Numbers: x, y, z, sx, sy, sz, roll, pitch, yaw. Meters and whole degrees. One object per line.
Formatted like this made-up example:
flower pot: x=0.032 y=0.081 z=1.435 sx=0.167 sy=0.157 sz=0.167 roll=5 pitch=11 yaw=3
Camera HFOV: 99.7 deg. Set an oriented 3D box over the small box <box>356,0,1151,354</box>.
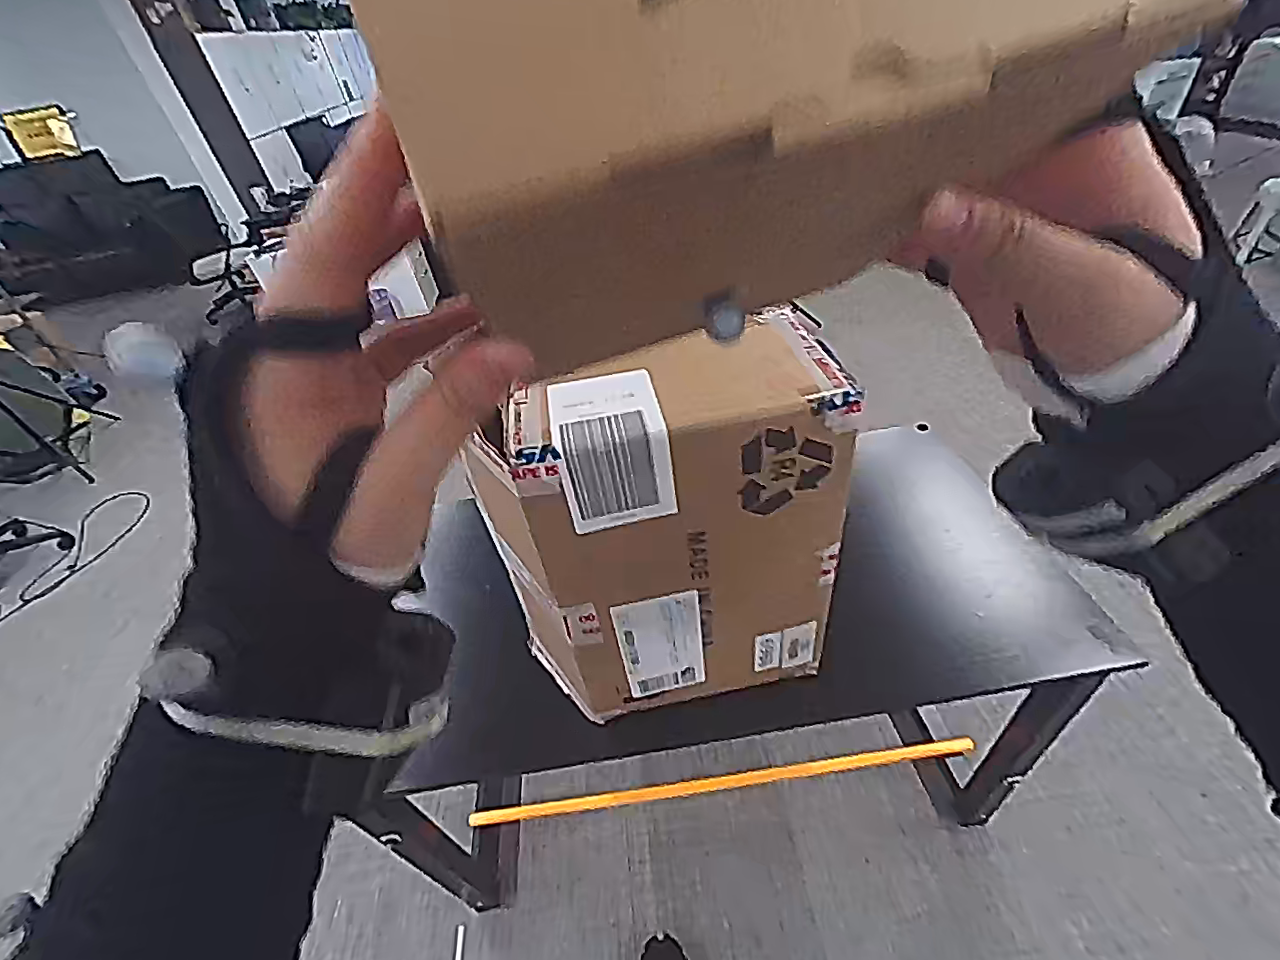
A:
small box: x=0.002 y=-0.160 z=0.171 sx=0.168 sy=0.179 sz=0.176 roll=-19 pitch=3 yaw=-6
